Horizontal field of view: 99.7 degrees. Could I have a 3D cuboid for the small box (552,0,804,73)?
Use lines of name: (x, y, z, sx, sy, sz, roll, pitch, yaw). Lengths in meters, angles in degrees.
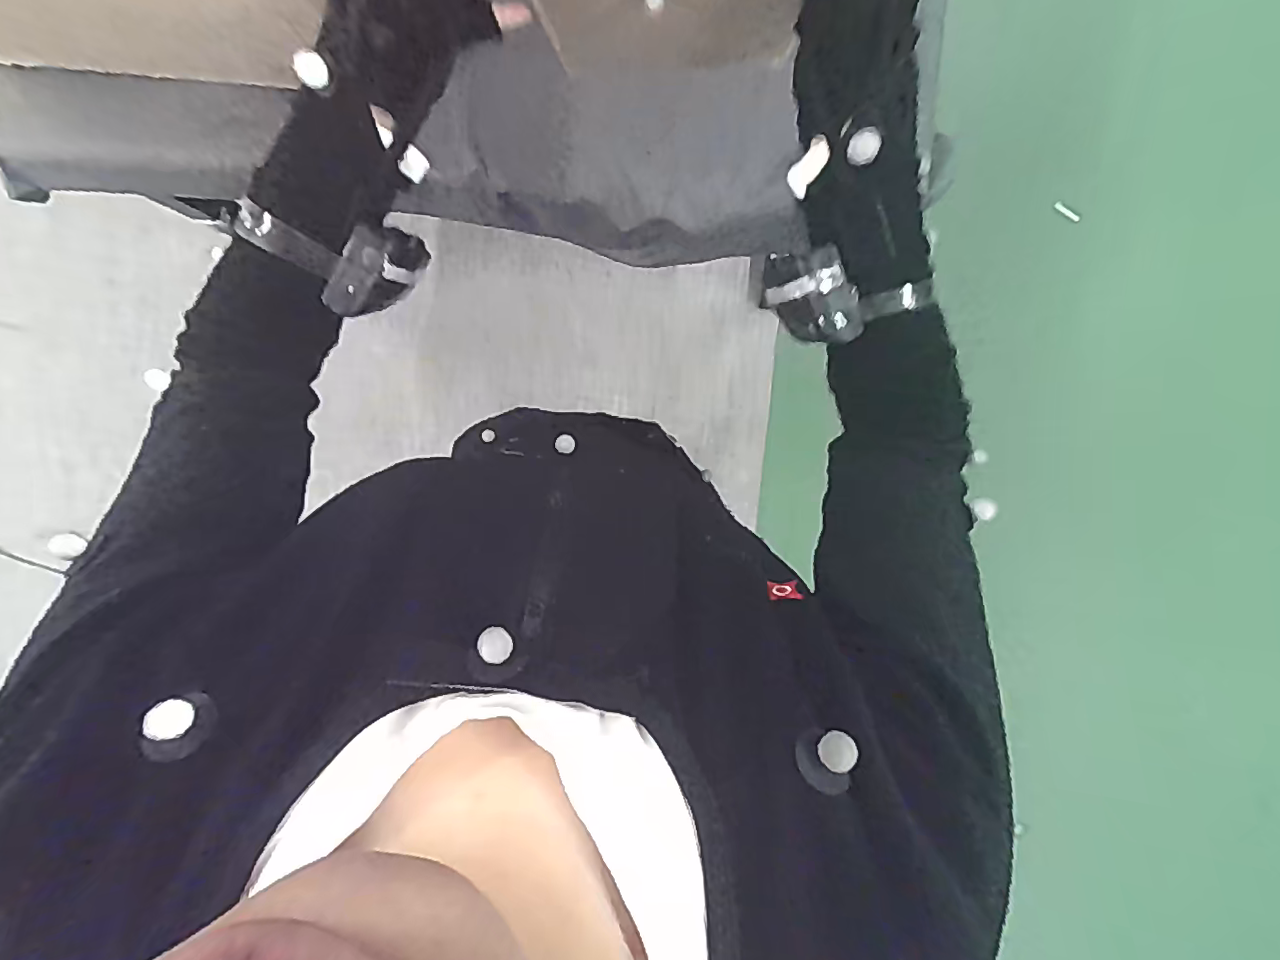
small box: (0.025, -0.387, 0.343, 0.179, 0.176, 0.168, 2, 107, 6)
